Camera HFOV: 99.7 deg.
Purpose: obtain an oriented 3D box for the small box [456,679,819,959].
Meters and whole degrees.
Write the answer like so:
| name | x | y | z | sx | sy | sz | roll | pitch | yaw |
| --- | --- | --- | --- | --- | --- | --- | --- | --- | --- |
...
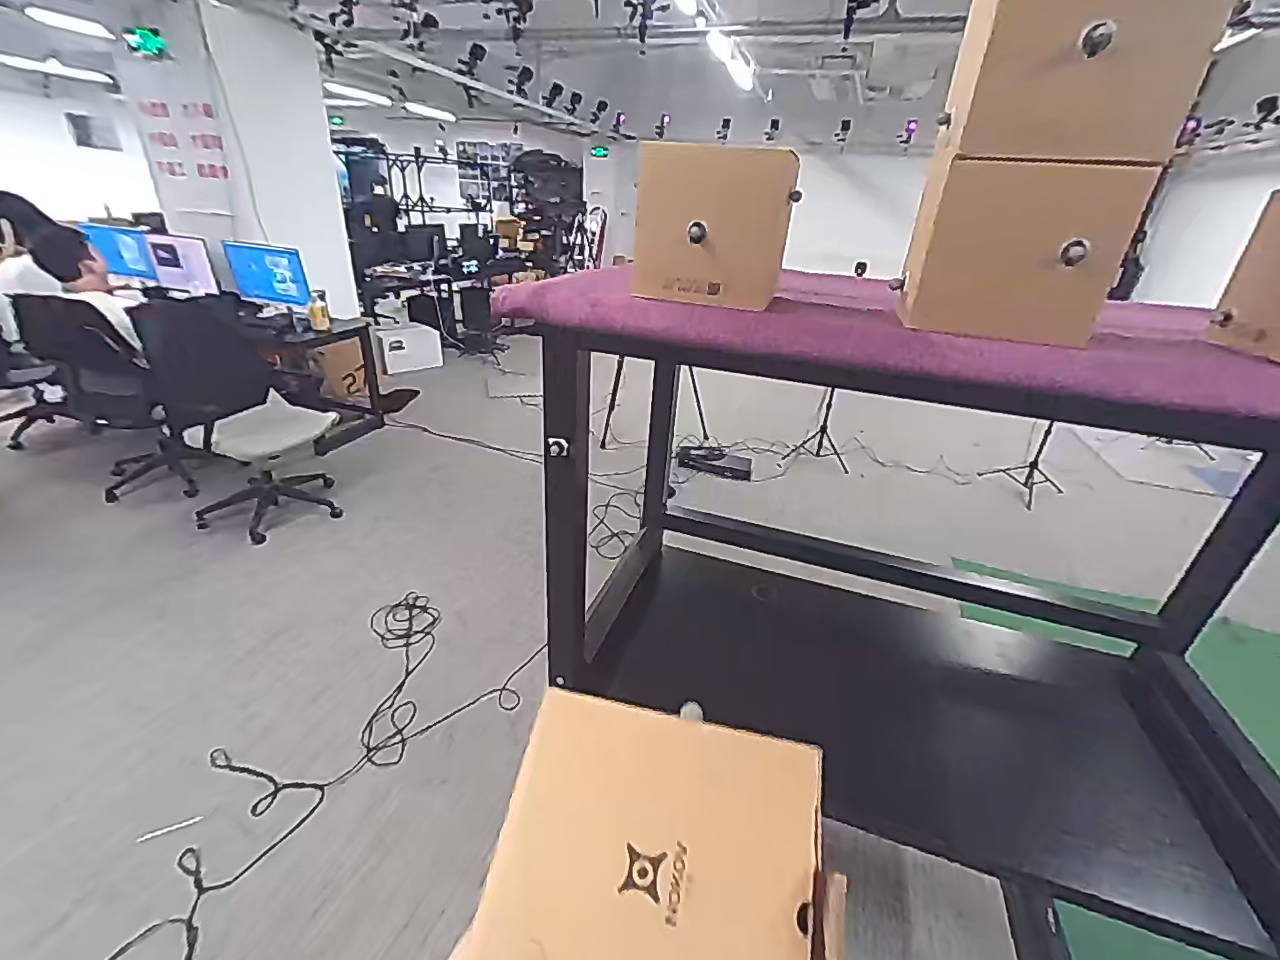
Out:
| name | x | y | z | sx | sy | sz | roll | pitch | yaw |
| --- | --- | --- | --- | --- | --- | --- | --- | --- | --- |
| small box | 0.009 | 0.252 | 0.358 | 0.179 | 0.176 | 0.168 | 9 | 57 | 9 |

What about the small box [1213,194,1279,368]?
| name | x | y | z | sx | sy | sz | roll | pitch | yaw |
| --- | --- | --- | --- | --- | --- | --- | --- | --- | --- |
| small box | 0.737 | -0.192 | 0.535 | 0.179 | 0.176 | 0.168 | 12 | 26 | 17 |

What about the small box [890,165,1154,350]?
| name | x | y | z | sx | sy | sz | roll | pitch | yaw |
| --- | --- | --- | --- | --- | --- | --- | --- | --- | --- |
| small box | 0.400 | -0.249 | 0.609 | 0.179 | 0.176 | 0.168 | 11 | 27 | 15 |

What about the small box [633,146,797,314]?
| name | x | y | z | sx | sy | sz | roll | pitch | yaw |
| --- | --- | --- | --- | --- | --- | --- | --- | --- | --- |
| small box | 0.094 | -0.314 | 0.684 | 0.168 | 0.176 | 0.179 | 13 | 29 | 14 |
